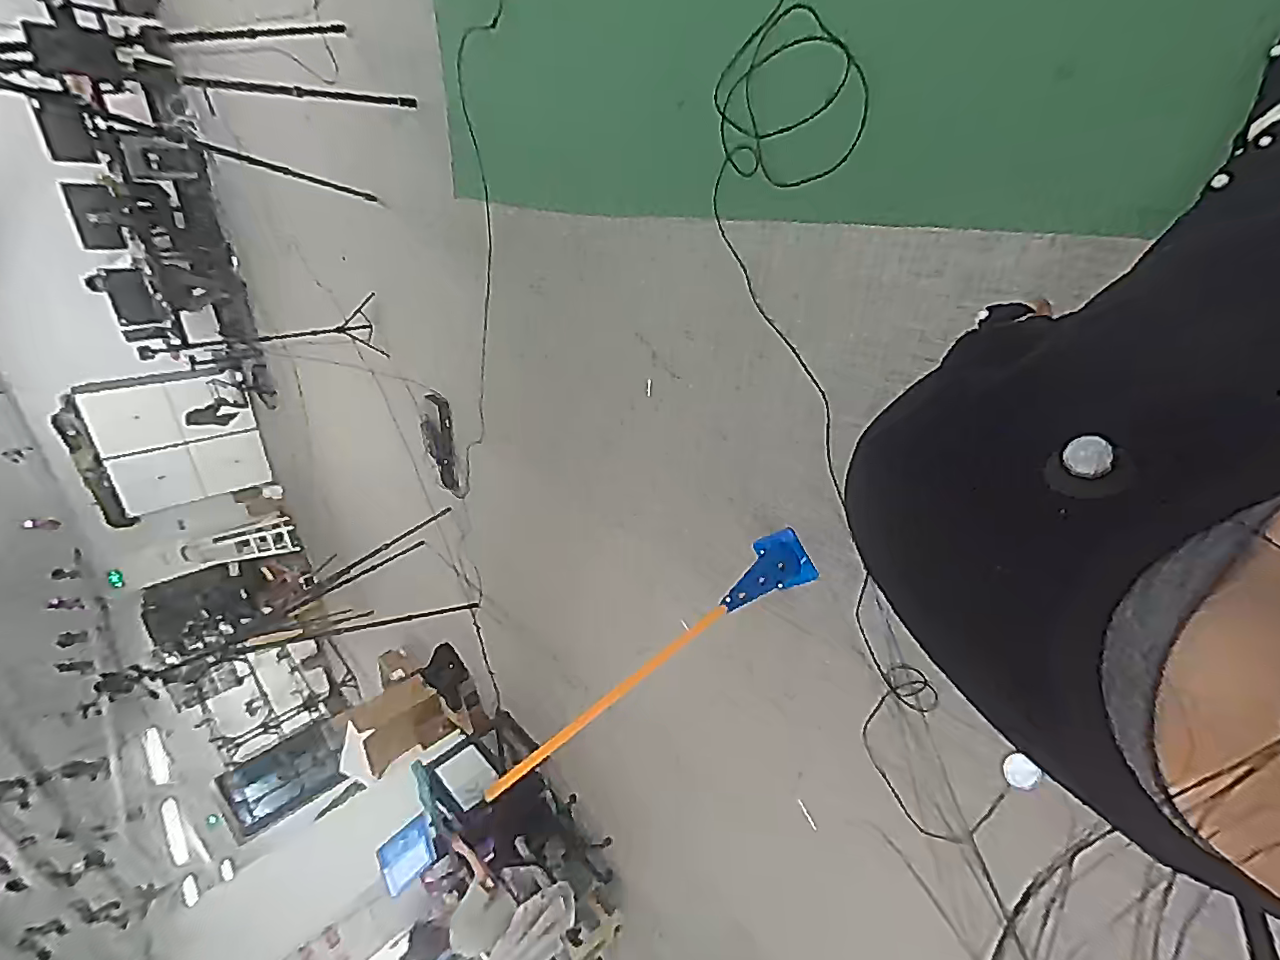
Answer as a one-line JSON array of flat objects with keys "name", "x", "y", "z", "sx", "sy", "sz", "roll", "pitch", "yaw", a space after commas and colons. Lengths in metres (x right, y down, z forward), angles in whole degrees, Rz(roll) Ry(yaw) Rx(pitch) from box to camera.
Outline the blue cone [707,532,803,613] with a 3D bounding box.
[{"name": "blue cone", "x": 0.357, "y": 0.347, "z": 1.807, "sx": 0.193, "sy": 0.380, "sz": 0.192, "roll": -37, "pitch": 81, "yaw": 51}]
